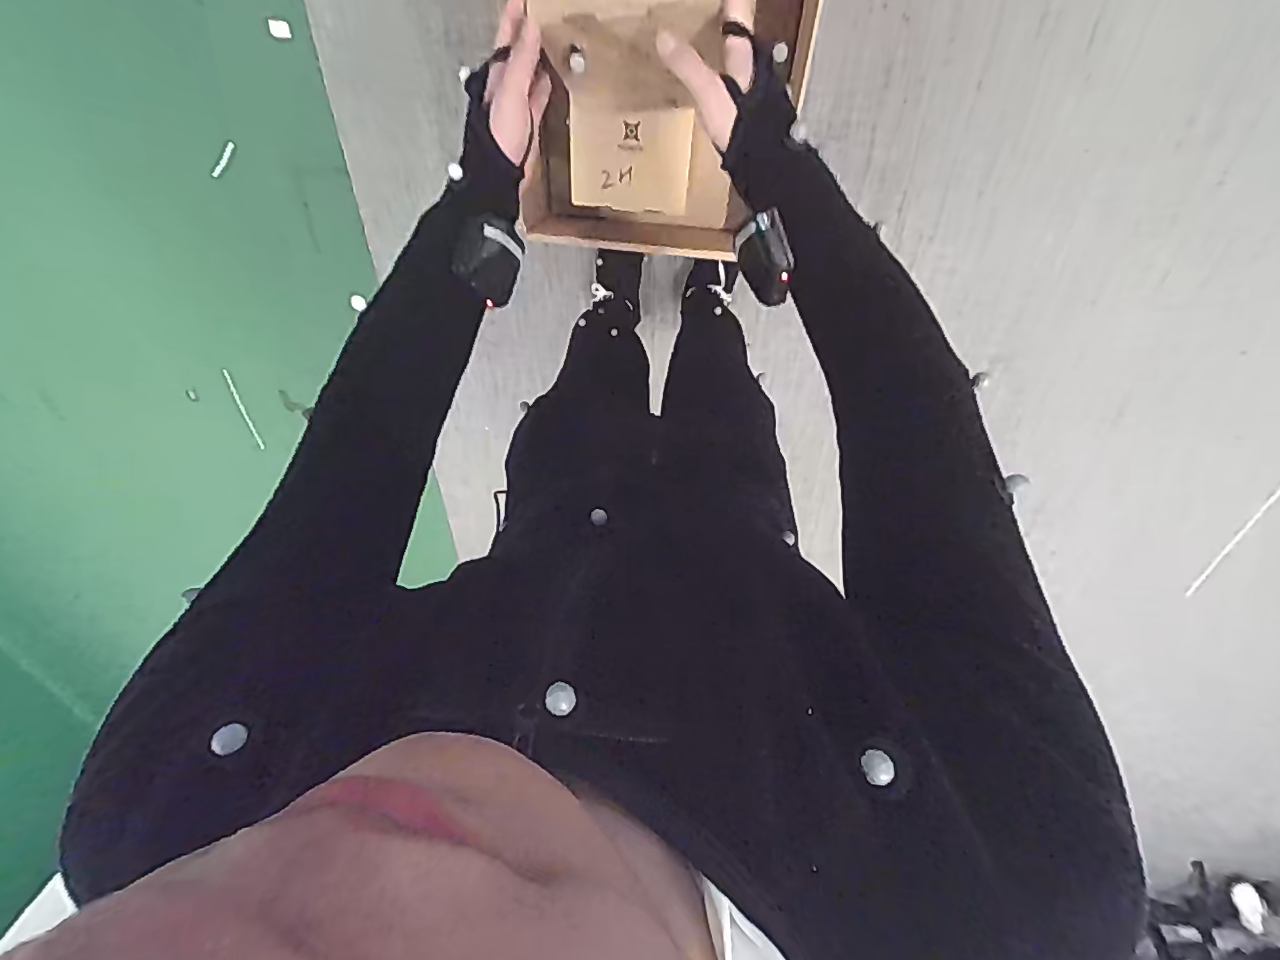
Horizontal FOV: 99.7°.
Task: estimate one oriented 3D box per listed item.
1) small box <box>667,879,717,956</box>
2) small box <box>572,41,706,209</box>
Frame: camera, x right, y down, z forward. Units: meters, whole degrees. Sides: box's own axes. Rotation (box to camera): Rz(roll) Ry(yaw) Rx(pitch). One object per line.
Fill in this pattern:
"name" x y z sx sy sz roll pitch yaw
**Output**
"small box" 0.185 1.559 1.931 0.168 0.176 0.179 4 128 9
"small box" 0.002 -0.507 0.774 0.168 0.176 0.179 8 128 5
